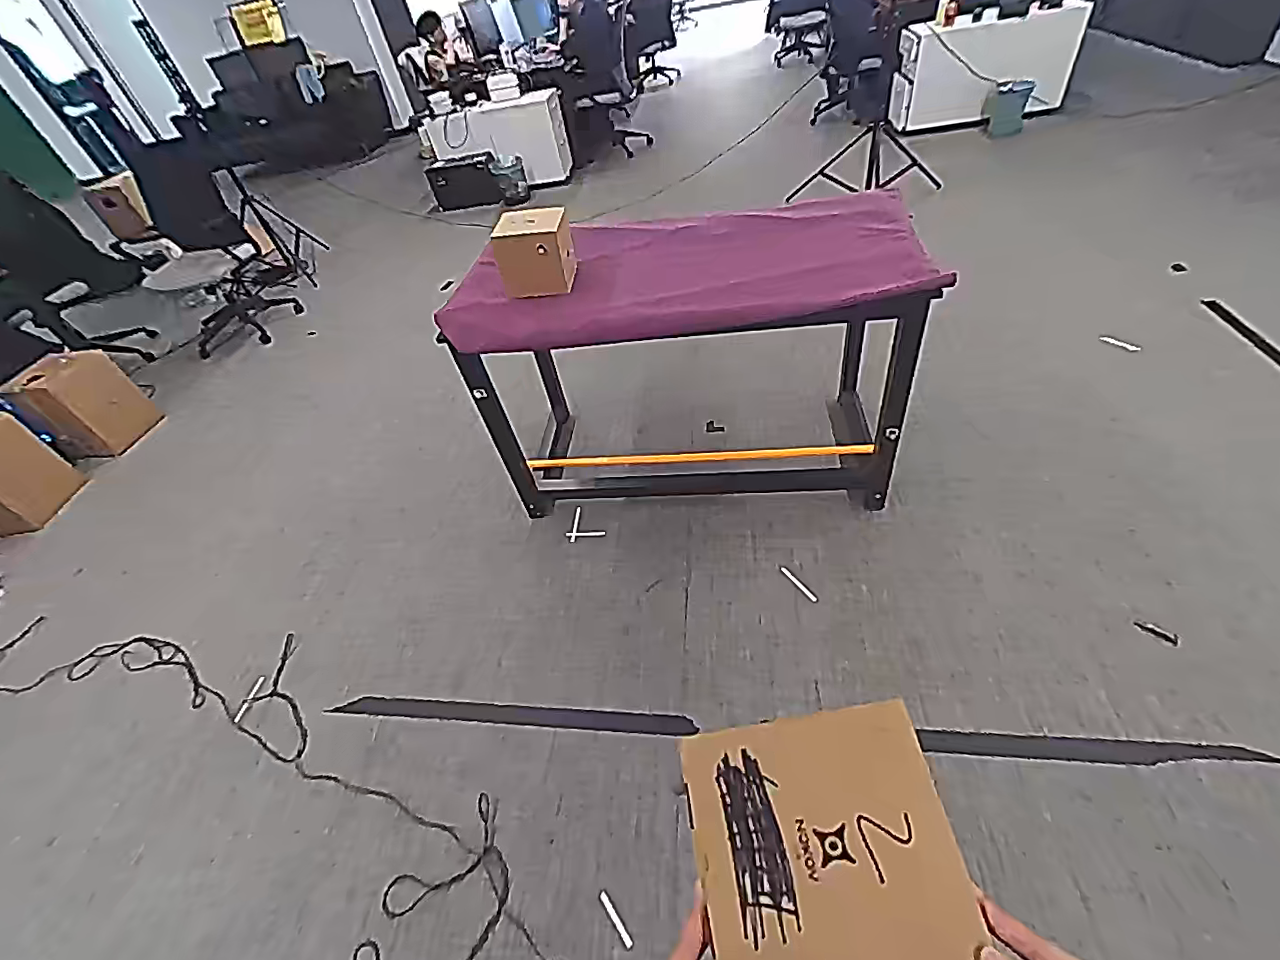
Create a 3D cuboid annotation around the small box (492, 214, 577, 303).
[{"bbox_3d":[-0.275,-0.599,1.466,0.179,0.176,0.168,-2,45,7],"label":"small box"}]
